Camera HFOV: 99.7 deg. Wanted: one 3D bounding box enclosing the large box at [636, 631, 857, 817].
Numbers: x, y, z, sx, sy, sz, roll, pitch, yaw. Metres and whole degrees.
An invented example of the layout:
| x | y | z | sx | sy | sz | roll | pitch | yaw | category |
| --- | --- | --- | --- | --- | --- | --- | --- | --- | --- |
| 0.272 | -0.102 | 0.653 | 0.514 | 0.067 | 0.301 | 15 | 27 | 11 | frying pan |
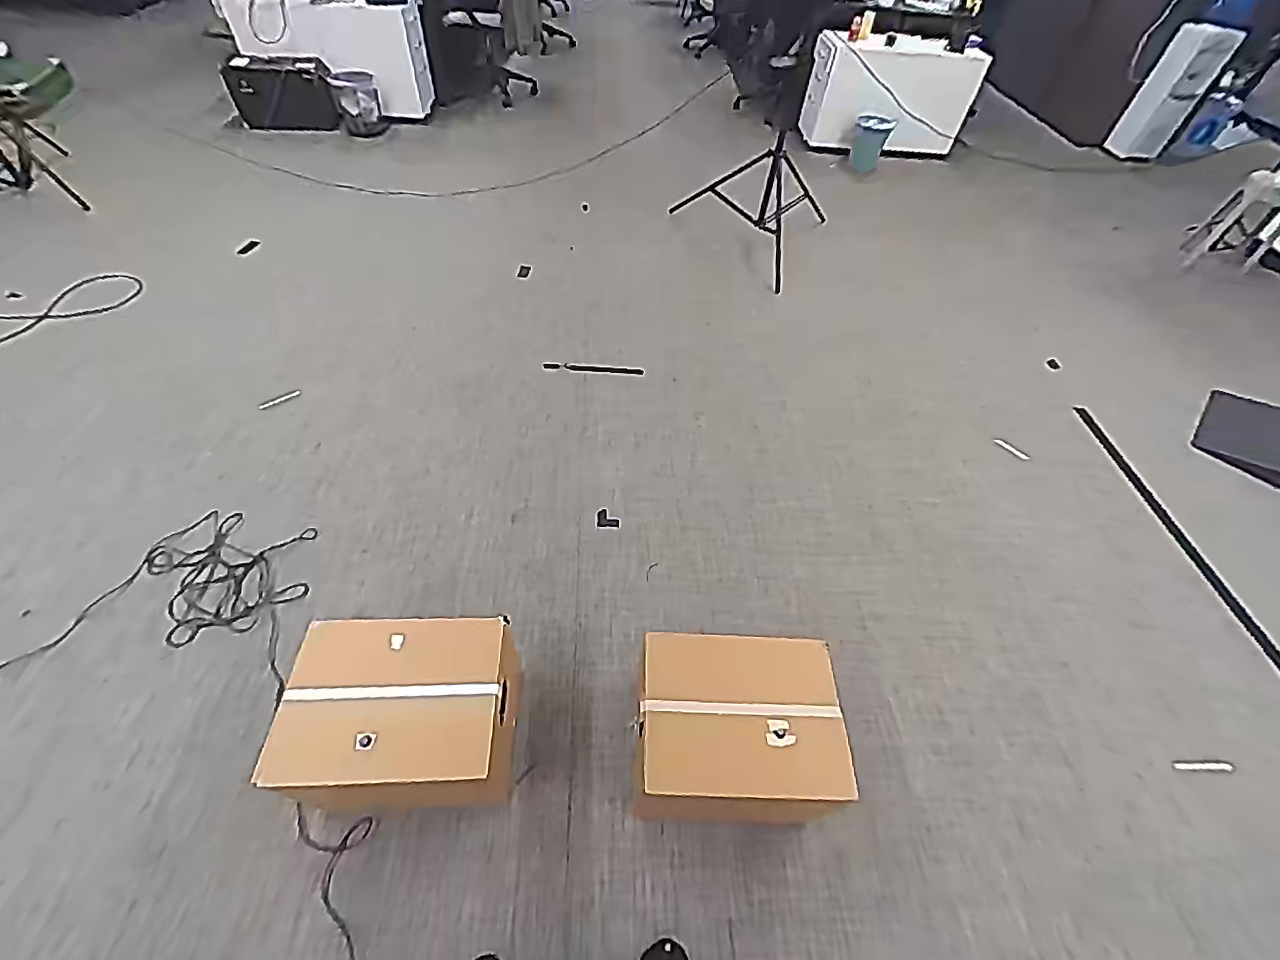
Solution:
| x | y | z | sx | sy | sz | roll | pitch | yaw | category |
| --- | --- | --- | --- | --- | --- | --- | --- | --- | --- |
| 0.201 | 0.556 | 1.216 | 0.408 | 0.320 | 0.320 | 4 | 51 | -3 | large box |
